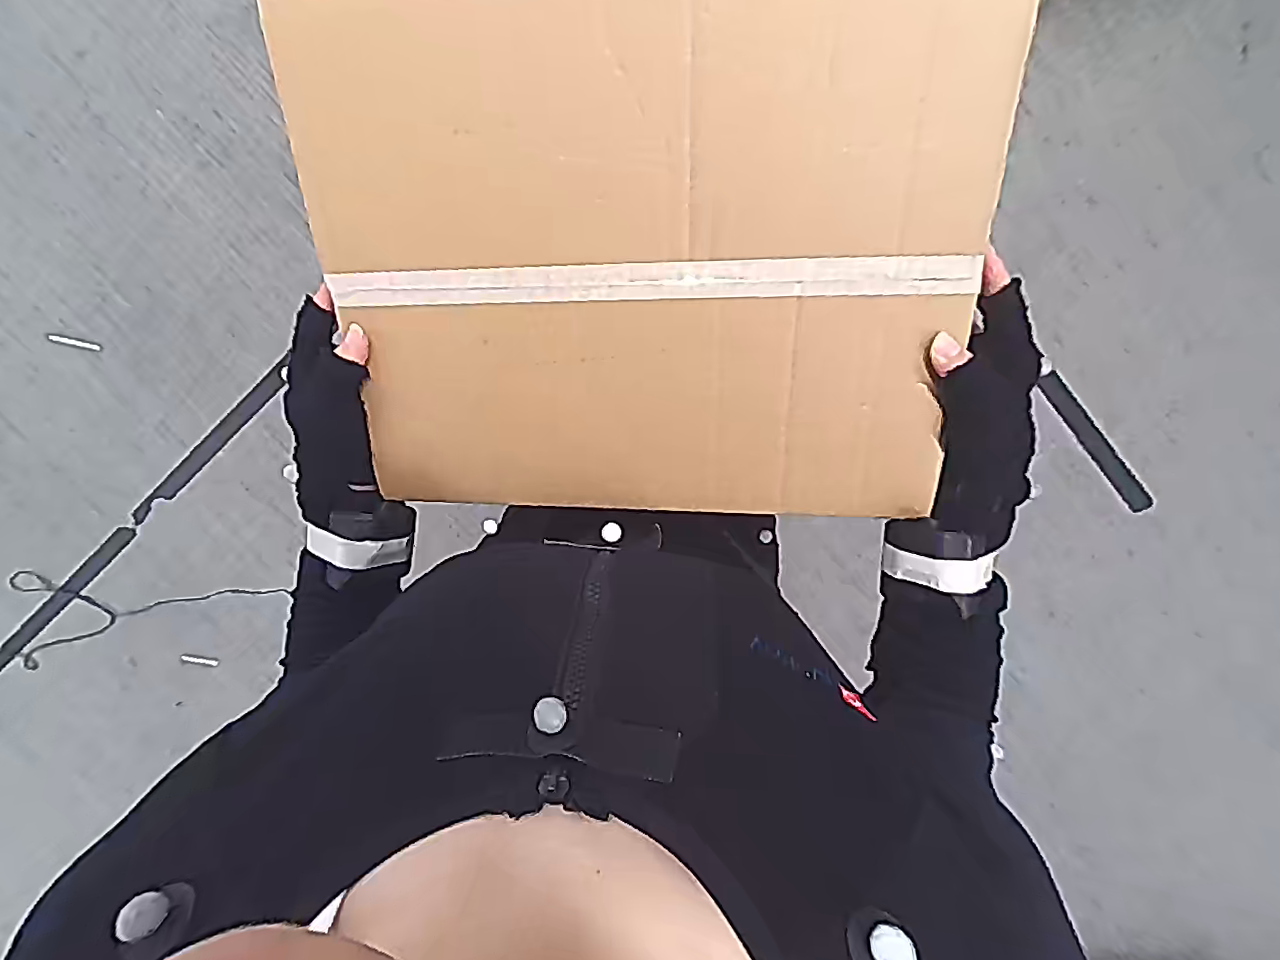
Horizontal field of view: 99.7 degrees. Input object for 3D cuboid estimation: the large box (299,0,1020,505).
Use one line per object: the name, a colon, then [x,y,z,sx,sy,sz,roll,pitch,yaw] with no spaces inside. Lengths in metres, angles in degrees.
large box: [0.016,-0.184,0.484,0.408,0.320,0.320,2,115,7]
